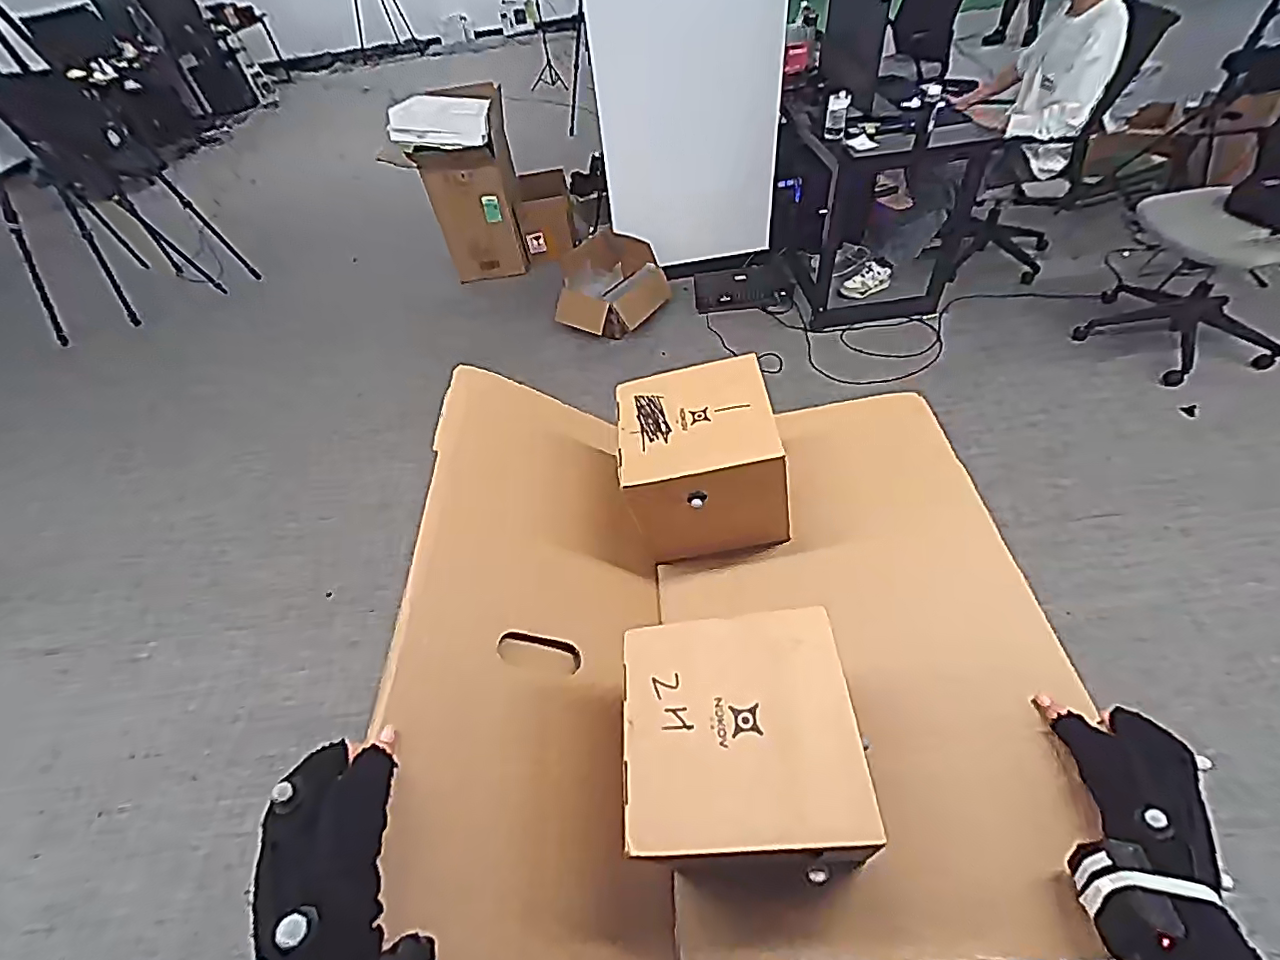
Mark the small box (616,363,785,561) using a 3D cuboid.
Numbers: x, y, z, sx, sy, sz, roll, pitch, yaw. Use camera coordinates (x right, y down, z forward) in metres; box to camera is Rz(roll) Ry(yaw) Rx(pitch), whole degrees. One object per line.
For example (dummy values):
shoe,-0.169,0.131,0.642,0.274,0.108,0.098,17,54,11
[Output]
small box,0.076,-0.014,0.679,0.179,0.176,0.168,-11,51,9
